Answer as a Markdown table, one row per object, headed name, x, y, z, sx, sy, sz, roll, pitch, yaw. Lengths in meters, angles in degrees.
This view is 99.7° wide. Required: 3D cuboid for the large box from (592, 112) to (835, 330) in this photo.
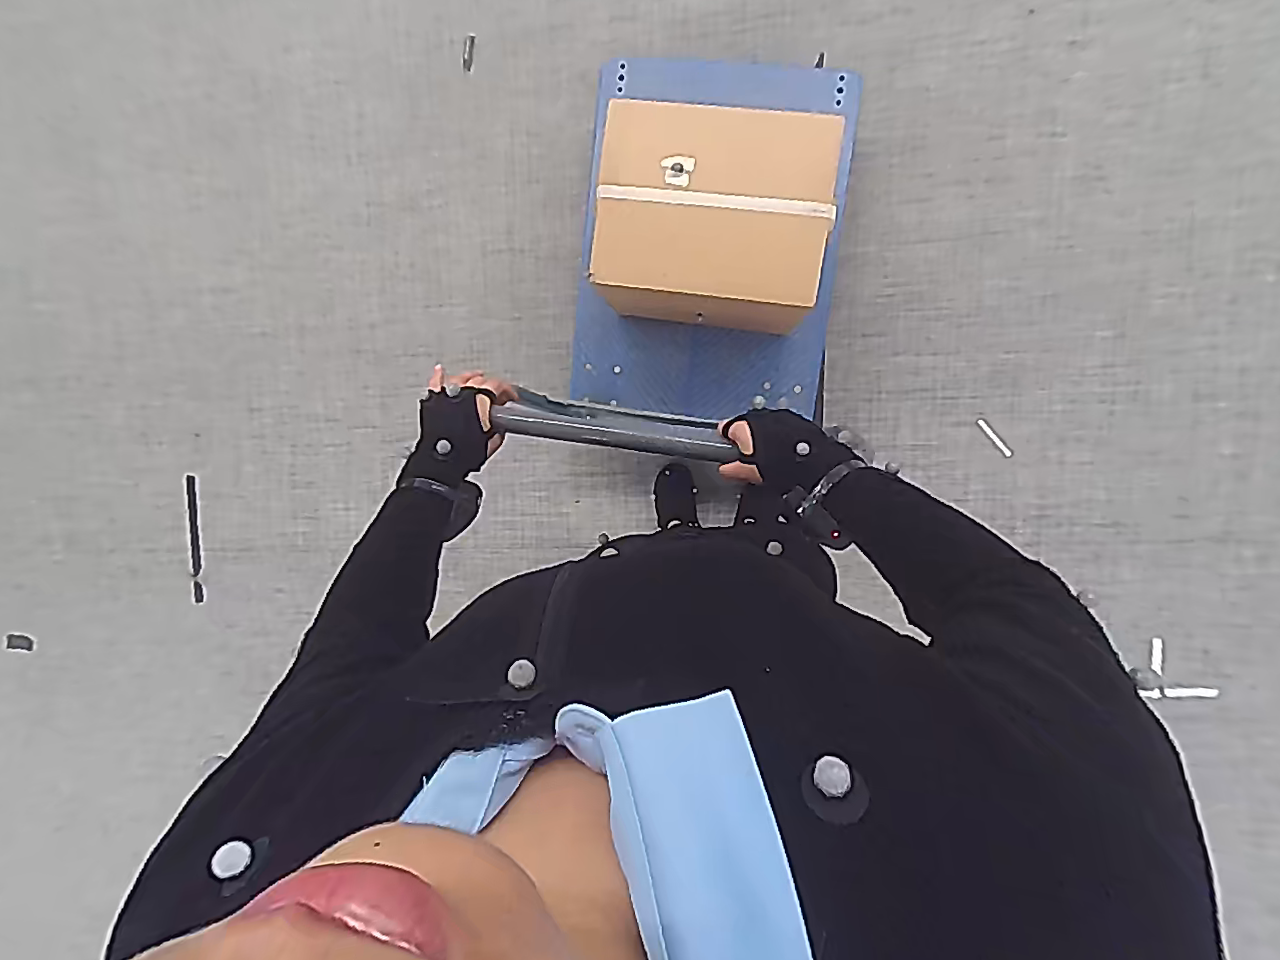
| name | x | y | z | sx | sy | sz | roll | pitch | yaw |
| --- | --- | --- | --- | --- | --- | --- | --- | --- | --- |
| large box | 0.144 | -0.500 | 1.106 | 0.408 | 0.320 | 0.320 | 8 | 96 | 7 |
